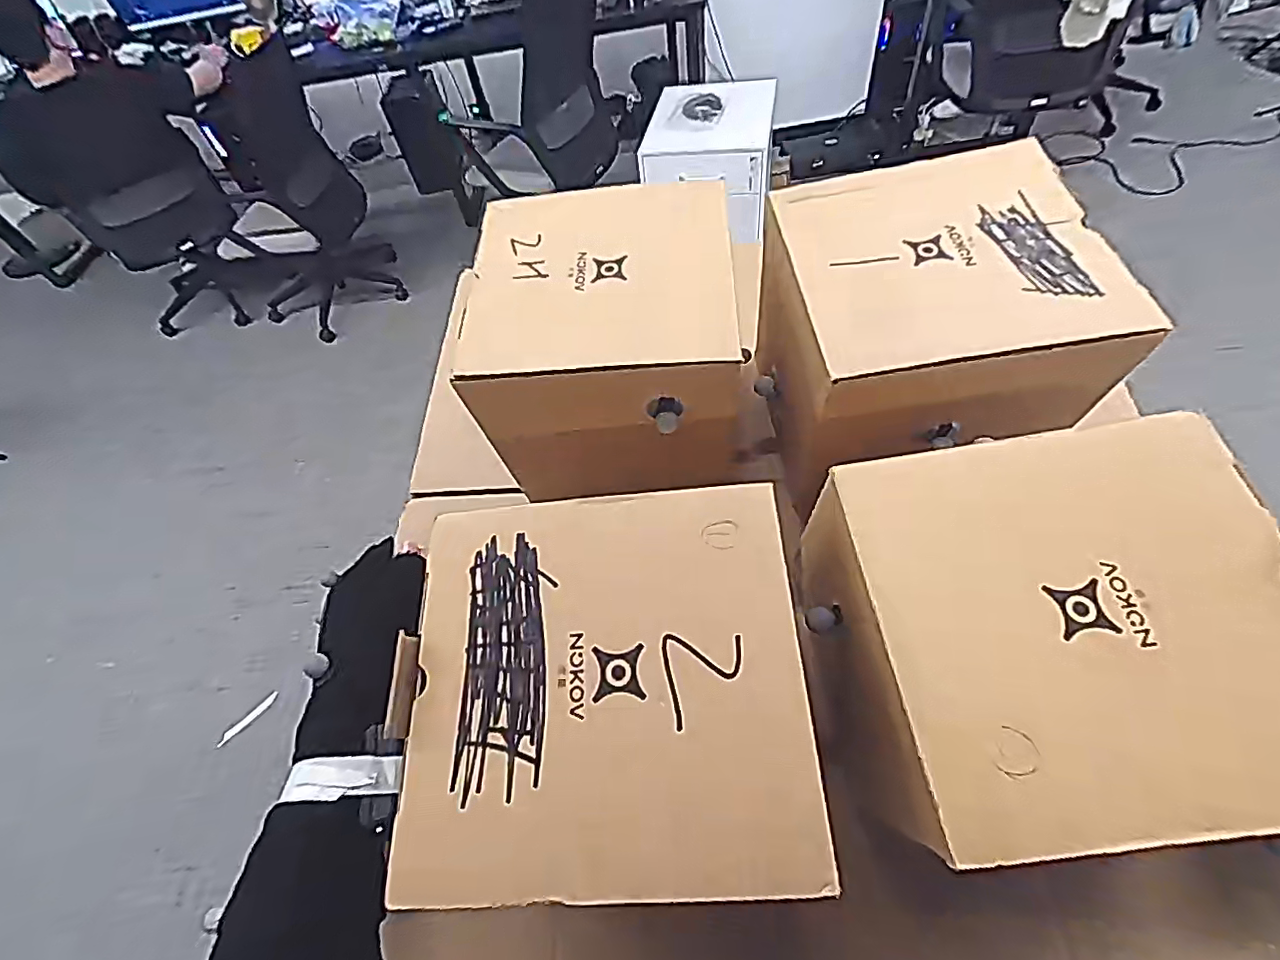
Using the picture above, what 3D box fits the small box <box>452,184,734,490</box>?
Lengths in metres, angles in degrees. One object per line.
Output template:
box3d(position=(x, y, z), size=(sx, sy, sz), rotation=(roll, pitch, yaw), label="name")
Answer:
box3d(position=(-0.020, -0.101, 0.433), size=(0.179, 0.176, 0.168), rotation=(-2, 61, 7), label="small box")
